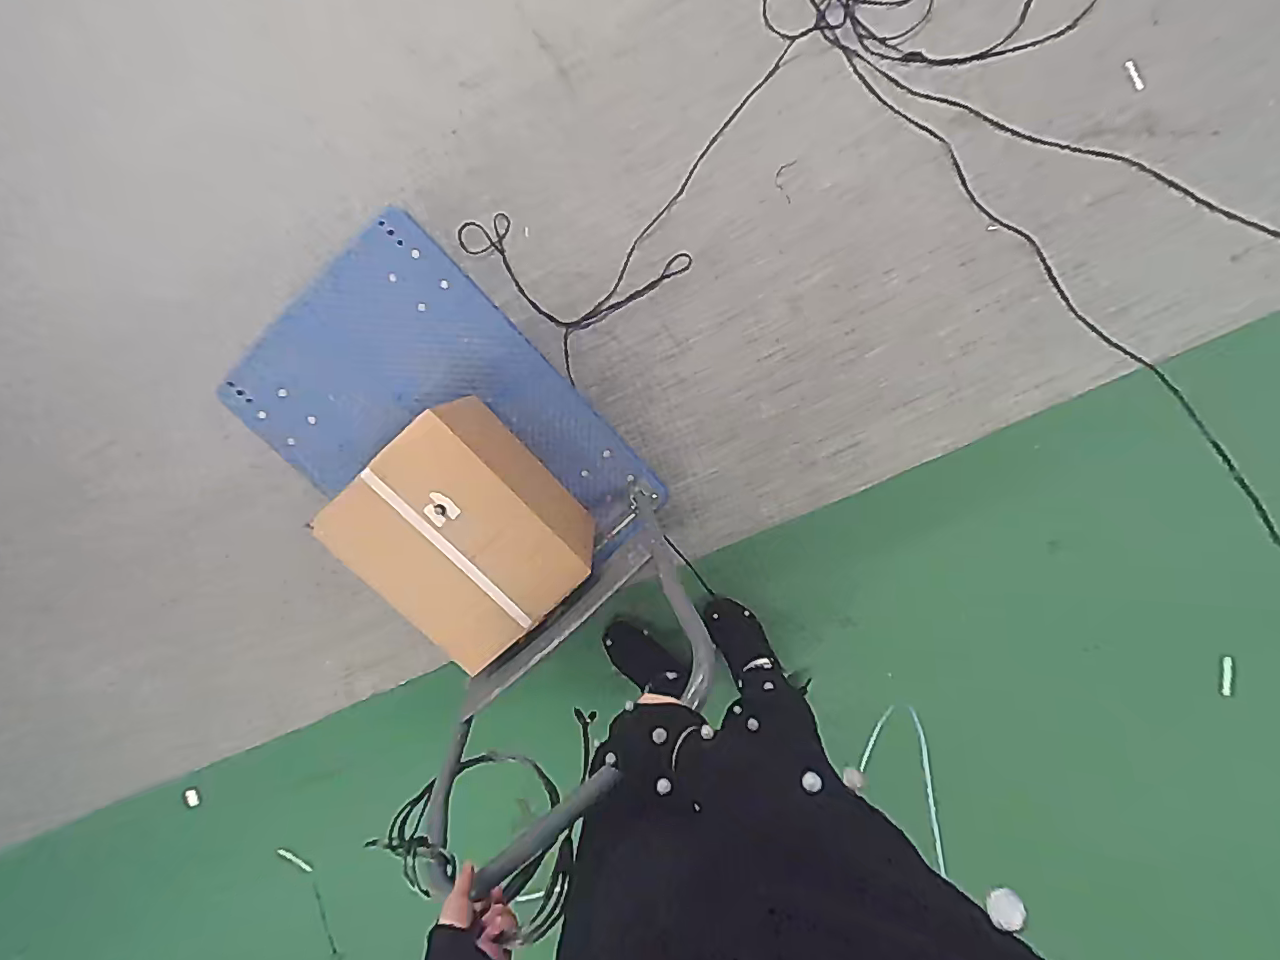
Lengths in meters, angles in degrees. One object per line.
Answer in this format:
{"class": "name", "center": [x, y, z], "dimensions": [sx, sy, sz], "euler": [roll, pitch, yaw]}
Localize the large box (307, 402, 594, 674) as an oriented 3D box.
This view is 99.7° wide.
{"class": "large box", "center": [-0.344, 0.096, 1.105], "dimensions": [0.320, 0.320, 0.408], "euler": [-41, 100, 6]}
